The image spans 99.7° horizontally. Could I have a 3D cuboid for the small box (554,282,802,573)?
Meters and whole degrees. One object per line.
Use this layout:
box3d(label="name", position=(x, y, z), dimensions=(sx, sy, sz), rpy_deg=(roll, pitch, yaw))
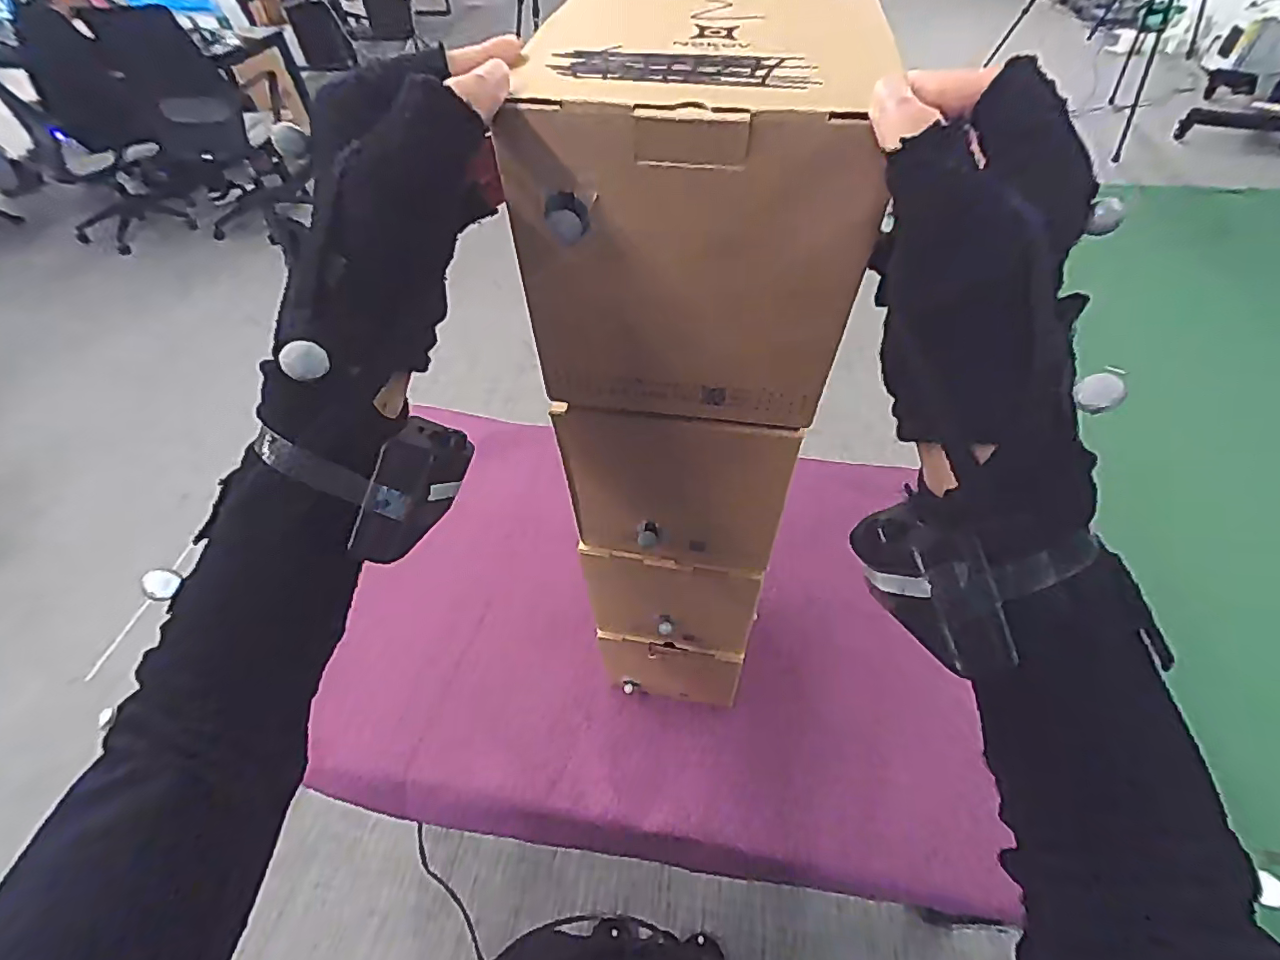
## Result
box3d(label="small box", position=(0.040, -0.045, 0.467), dimensions=(0.168, 0.176, 0.179), rpy_deg=(7, 51, 10))

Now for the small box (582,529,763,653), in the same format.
box3d(label="small box", position=(0.045, 0.062, 0.589), dimensions=(0.168, 0.176, 0.179), rpy_deg=(7, 51, 10))

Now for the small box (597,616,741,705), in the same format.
box3d(label="small box", position=(0.052, 0.174, 0.710), dimensions=(0.168, 0.176, 0.179), rpy_deg=(8, 50, 10))
